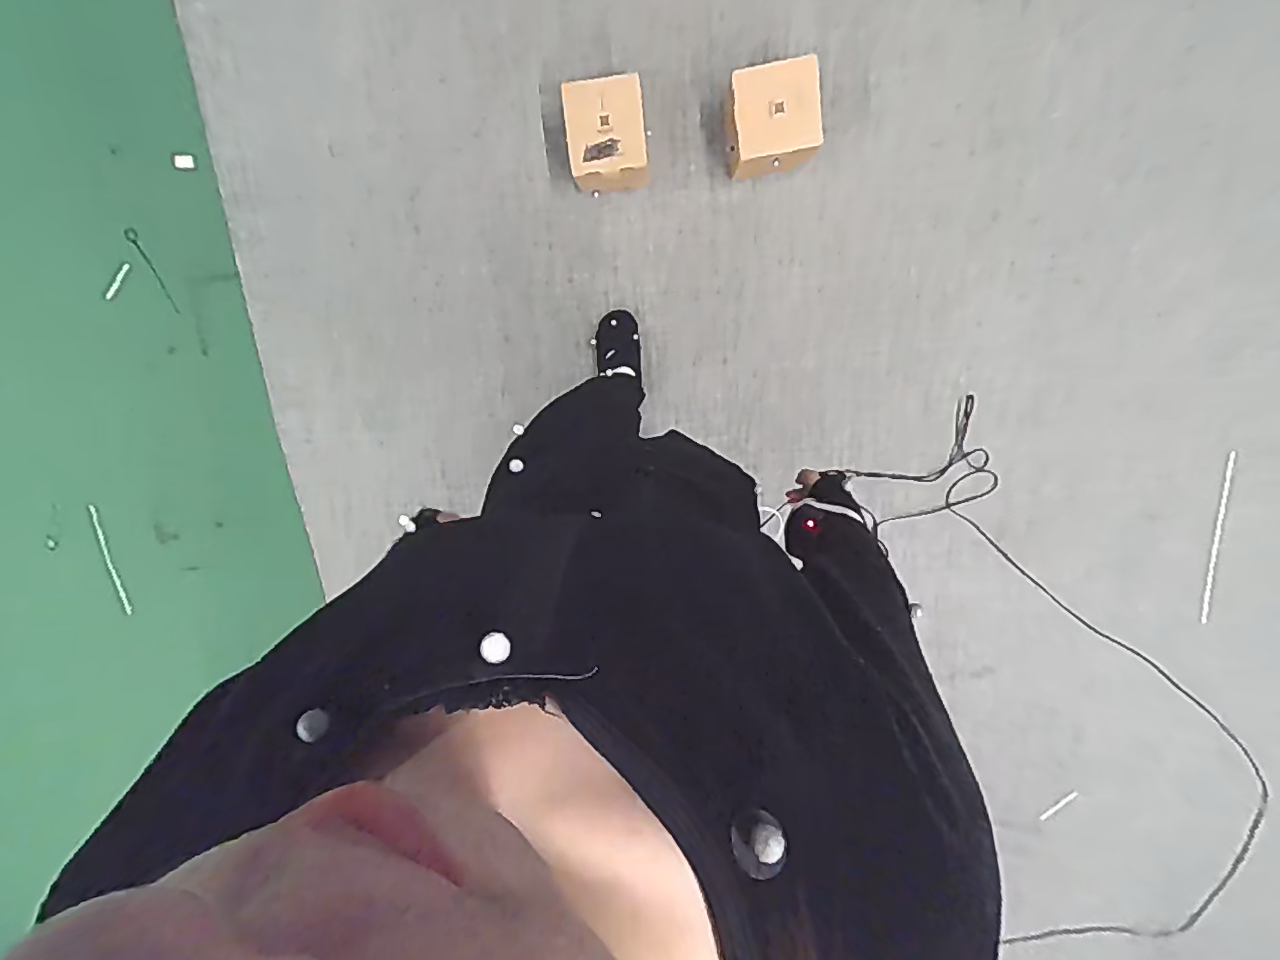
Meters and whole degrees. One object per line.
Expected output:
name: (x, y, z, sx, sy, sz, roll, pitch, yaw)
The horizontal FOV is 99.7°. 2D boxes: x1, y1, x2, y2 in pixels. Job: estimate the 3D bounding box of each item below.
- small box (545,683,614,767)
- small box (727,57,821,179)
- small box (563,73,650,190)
small box: (-0.175, 0.735, 1.634, 0.179, 0.176, 0.168, -5, 105, 5)
small box: (0.285, -0.779, 1.184, 0.179, 0.176, 0.168, -7, 106, 5)
small box: (-0.067, -0.766, 1.210, 0.168, 0.176, 0.179, -4, 104, 5)
